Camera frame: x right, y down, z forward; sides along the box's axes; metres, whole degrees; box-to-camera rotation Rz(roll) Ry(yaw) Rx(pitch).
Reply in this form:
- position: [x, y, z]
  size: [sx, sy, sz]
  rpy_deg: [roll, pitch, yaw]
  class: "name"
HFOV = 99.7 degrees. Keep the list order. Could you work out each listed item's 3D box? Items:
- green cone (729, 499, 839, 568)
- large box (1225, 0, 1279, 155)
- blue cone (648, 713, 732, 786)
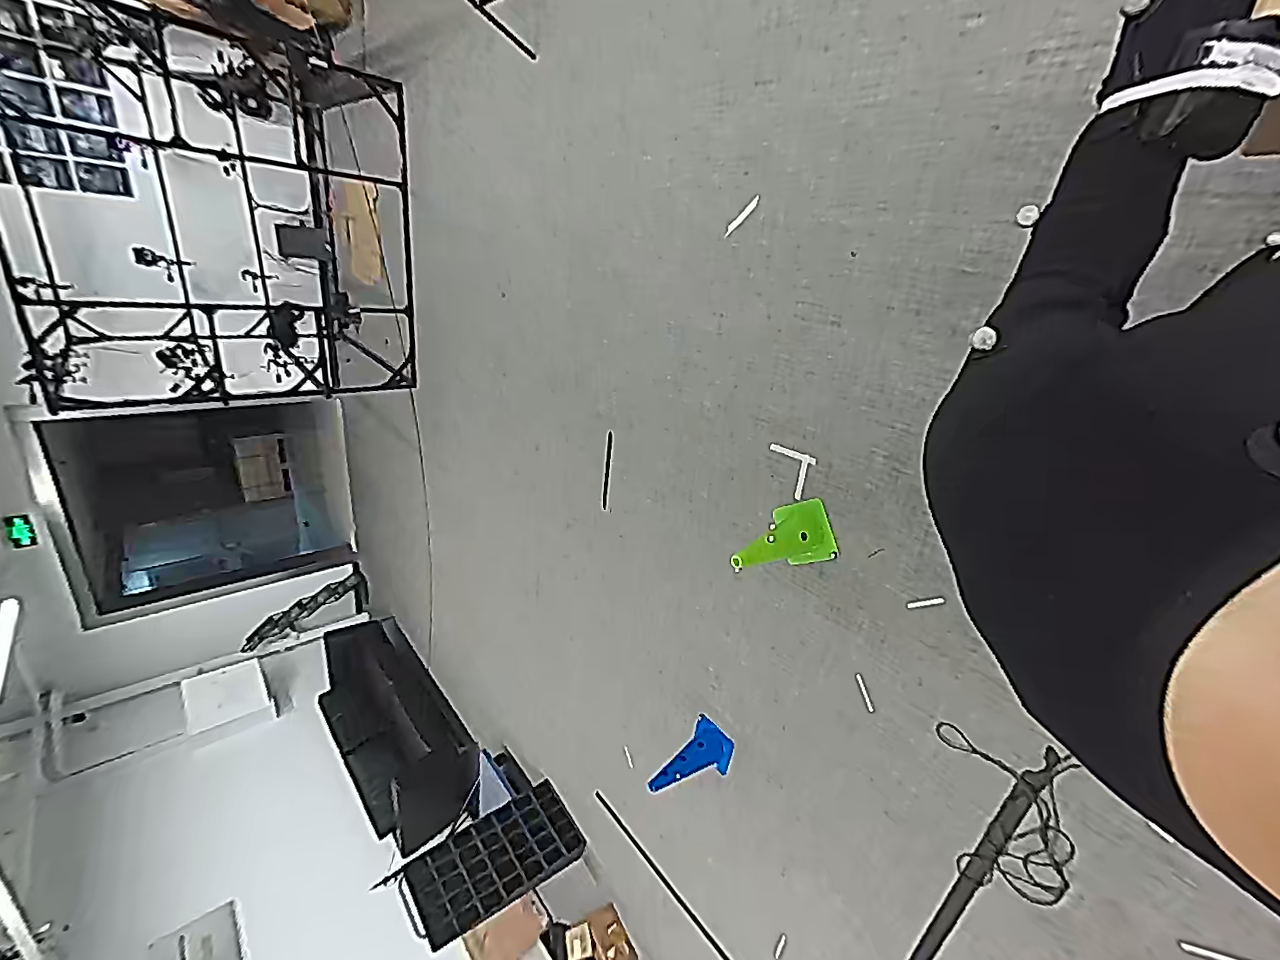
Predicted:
- position: [0.412, 0.199, 1.672]
  size: [0.202, 0.368, 0.200]
  rpy_deg: [-24, 81, 52]
  class: "green cone"
- position: [0.633, -0.381, 0.266]
  size: [0.408, 0.320, 0.320]
  rpy_deg: [25, 121, 42]
  class: "large box"
- position: [0.192, 1.158, 2.231]
  size: [0.192, 0.380, 0.193]
  rpy_deg: [35, 125, 41]
  class: "blue cone"
